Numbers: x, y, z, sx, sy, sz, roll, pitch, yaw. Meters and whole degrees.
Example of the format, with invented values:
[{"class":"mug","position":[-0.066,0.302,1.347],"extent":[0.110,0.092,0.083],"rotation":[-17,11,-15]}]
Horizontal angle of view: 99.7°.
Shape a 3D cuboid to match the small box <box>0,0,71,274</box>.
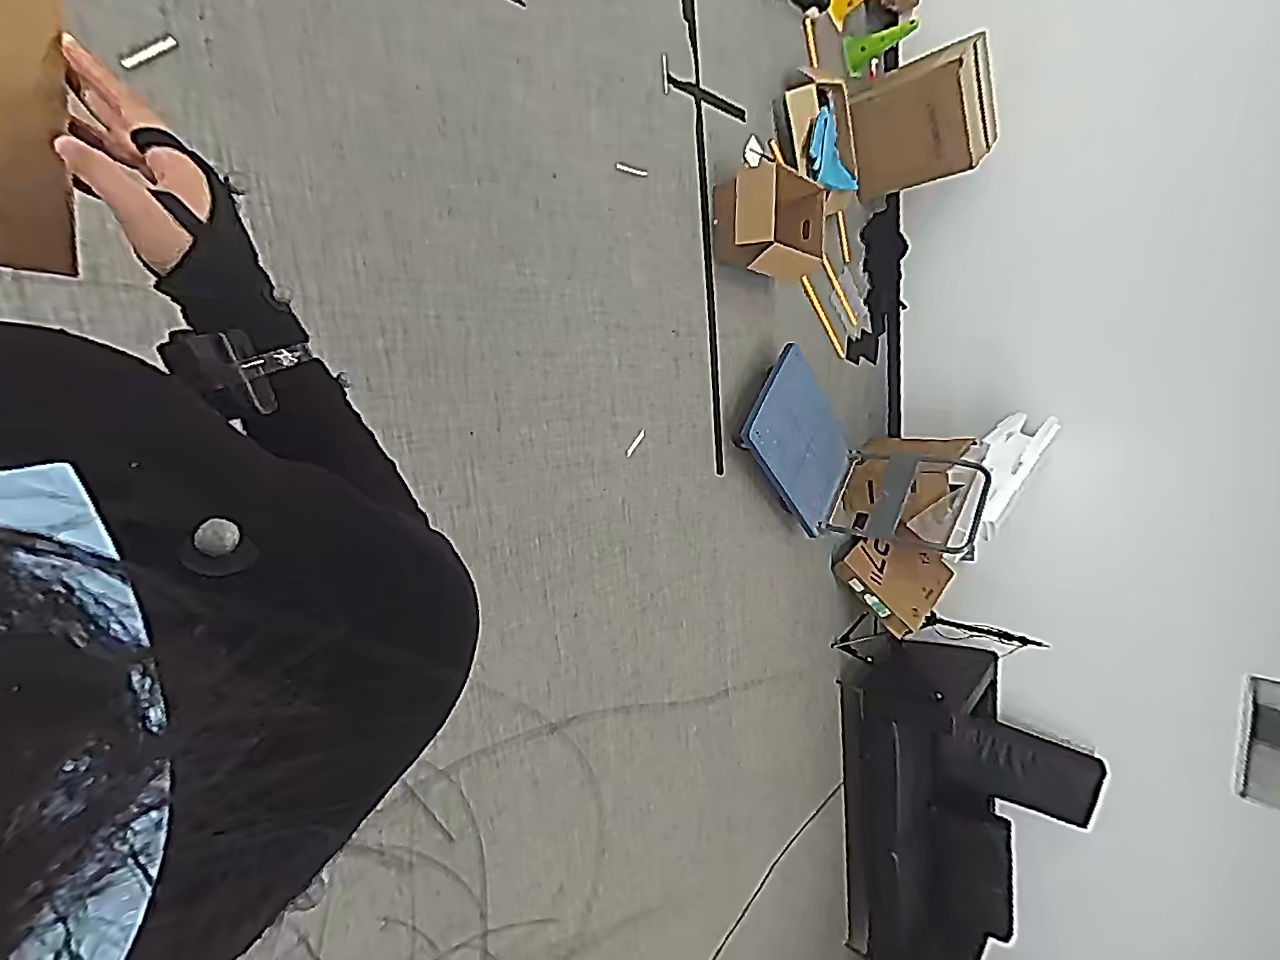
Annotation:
[{"class":"small box","position":[-0.466,-0.253,0.323],"extent":[0.168,0.176,0.179],"rotation":[-6,128,-48]}]
